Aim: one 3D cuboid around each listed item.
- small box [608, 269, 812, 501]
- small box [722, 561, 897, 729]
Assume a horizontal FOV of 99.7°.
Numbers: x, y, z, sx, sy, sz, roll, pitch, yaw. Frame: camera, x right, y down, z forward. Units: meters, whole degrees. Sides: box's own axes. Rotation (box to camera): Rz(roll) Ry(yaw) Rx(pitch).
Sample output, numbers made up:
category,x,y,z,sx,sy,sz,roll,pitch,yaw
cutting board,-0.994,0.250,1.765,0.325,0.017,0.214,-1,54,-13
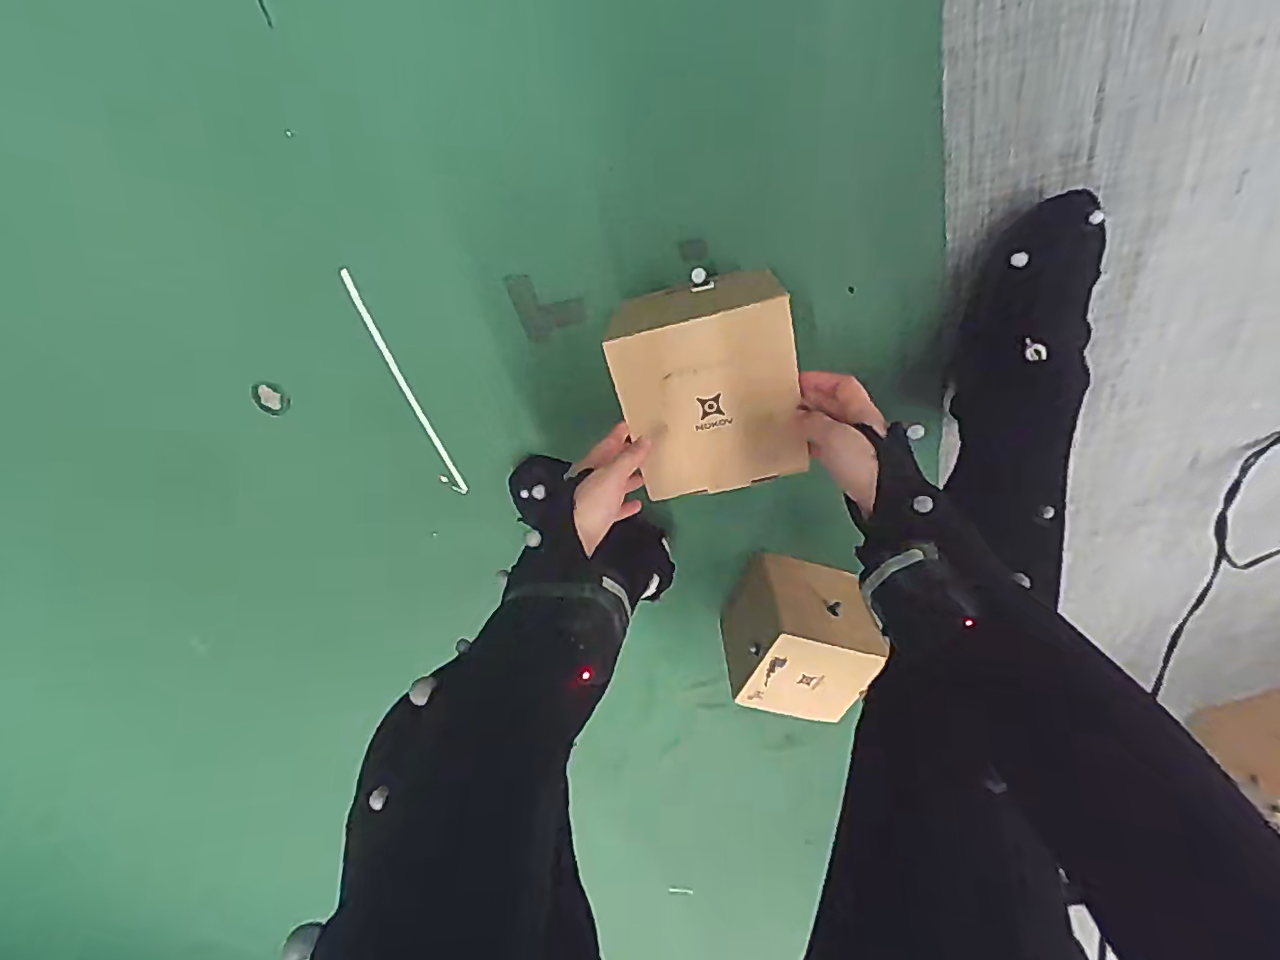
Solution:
category,x,y,z,sx,sy,sz,roll,pitch,yaw
small box,0.075,-0.105,0.571,0.168,0.176,0.179,-12,118,9
small box,0.242,0.246,0.823,0.179,0.176,0.168,15,123,-11
